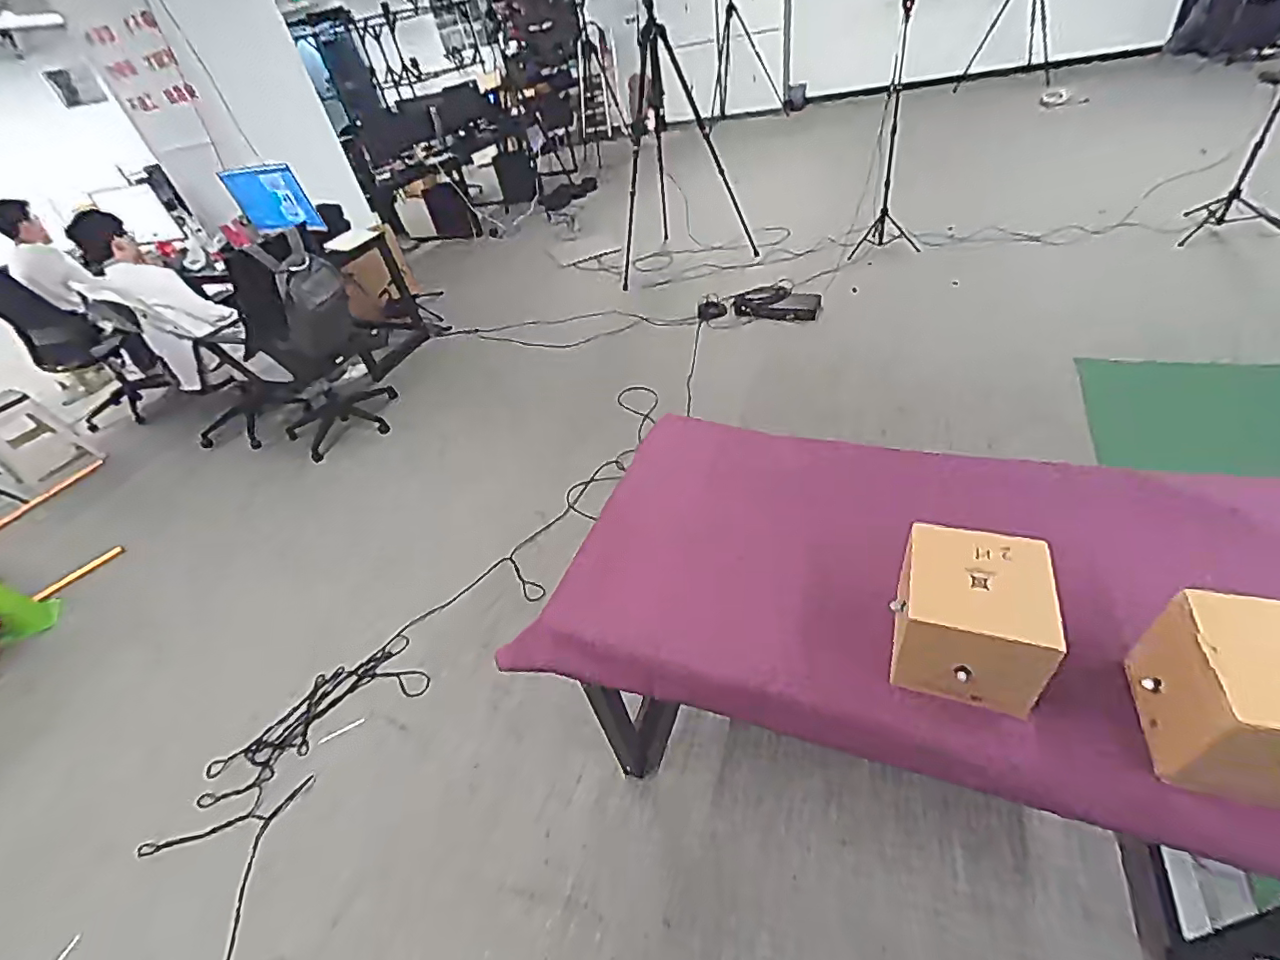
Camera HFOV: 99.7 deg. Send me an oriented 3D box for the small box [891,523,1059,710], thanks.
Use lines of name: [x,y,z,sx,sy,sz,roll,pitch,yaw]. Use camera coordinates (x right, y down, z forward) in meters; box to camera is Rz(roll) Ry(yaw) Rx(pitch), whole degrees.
small box: [0.455,0.189,0.757,0.168,0.176,0.179,9,44,23]

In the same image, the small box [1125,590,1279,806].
small box: [0.712,0.253,0.617,0.179,0.176,0.168,5,45,22]
